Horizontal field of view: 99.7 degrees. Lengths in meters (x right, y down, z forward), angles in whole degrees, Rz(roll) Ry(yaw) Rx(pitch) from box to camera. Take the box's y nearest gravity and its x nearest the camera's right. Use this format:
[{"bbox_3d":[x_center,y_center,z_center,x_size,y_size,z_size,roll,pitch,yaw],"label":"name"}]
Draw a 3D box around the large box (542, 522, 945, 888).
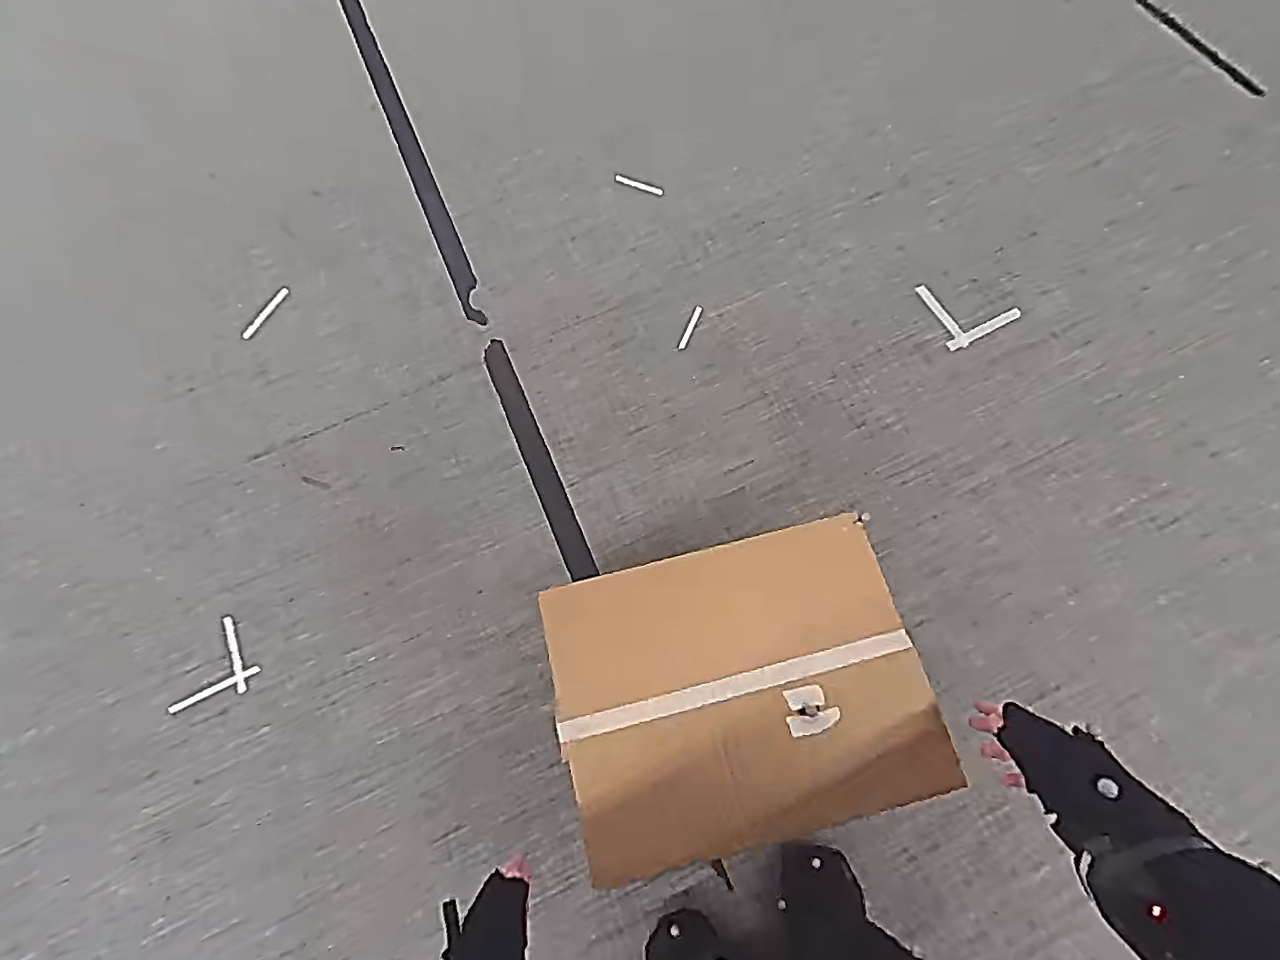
[{"bbox_3d":[0.111,0.293,0.768,0.408,0.320,0.320,-14,71,-3],"label":"large box"}]
